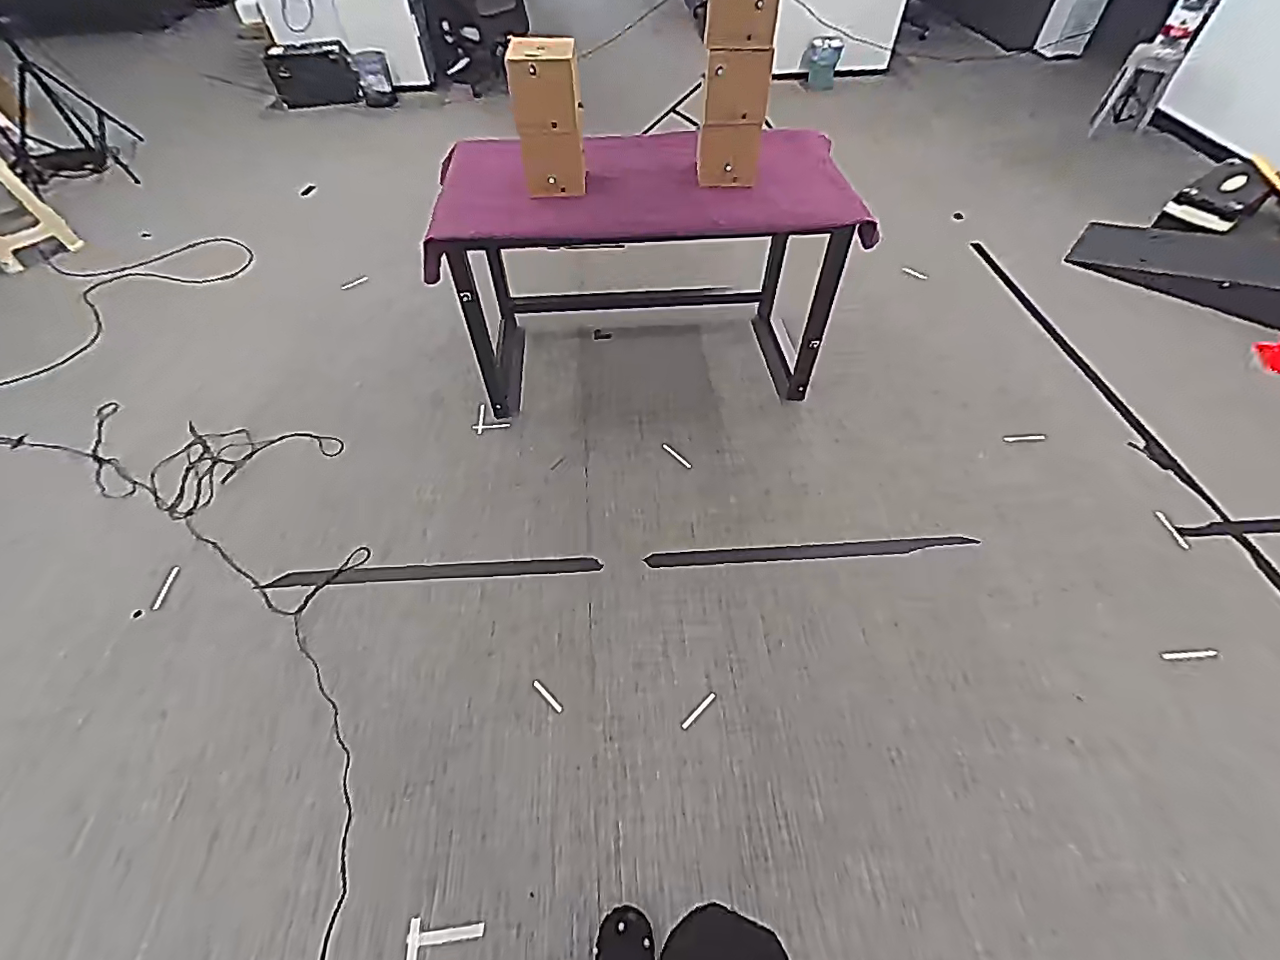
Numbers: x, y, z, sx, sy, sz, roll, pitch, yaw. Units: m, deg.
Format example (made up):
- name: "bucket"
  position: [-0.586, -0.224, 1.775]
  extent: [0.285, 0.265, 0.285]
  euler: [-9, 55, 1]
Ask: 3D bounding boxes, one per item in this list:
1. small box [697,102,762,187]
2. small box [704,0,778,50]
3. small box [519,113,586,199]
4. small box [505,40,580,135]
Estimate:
- name: "small box"
  position: [0.257, -0.989, 1.593]
  extent: [0.168, 0.176, 0.179]
  euler: [0, 52, 2]
- name: "small box"
  position: [0.249, -1.185, 1.332]
  extent: [0.168, 0.176, 0.179]
  euler: [3, 51, 2]
- name: "small box"
  position: [-0.247, -0.936, 1.560]
  extent: [0.168, 0.176, 0.179]
  euler: [-2, 53, -1]
- name: "small box"
  position: [-0.250, -1.037, 1.430]
  extent: [0.168, 0.176, 0.179]
  euler: [-2, 52, 0]
